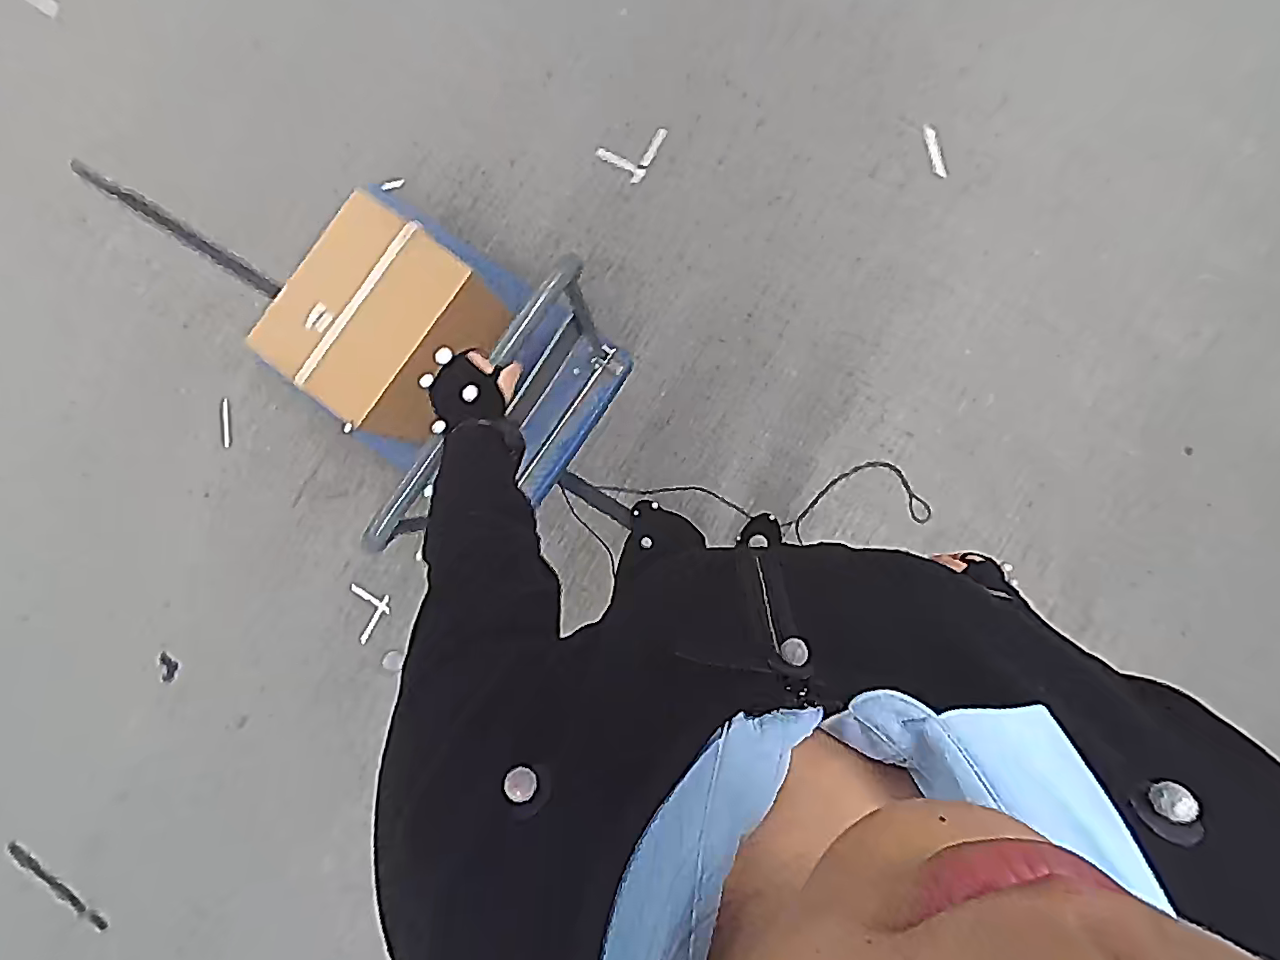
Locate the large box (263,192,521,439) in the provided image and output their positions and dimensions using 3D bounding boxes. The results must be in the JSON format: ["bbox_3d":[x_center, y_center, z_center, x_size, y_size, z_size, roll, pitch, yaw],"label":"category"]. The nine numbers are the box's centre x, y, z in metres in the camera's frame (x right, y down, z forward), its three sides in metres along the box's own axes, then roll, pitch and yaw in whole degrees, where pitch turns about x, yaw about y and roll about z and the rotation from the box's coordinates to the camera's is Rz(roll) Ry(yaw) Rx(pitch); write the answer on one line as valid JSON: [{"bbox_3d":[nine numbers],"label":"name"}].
[{"bbox_3d":[-0.549,-0.356,1.271,0.320,0.320,0.408,37,92,7],"label":"large box"}]
